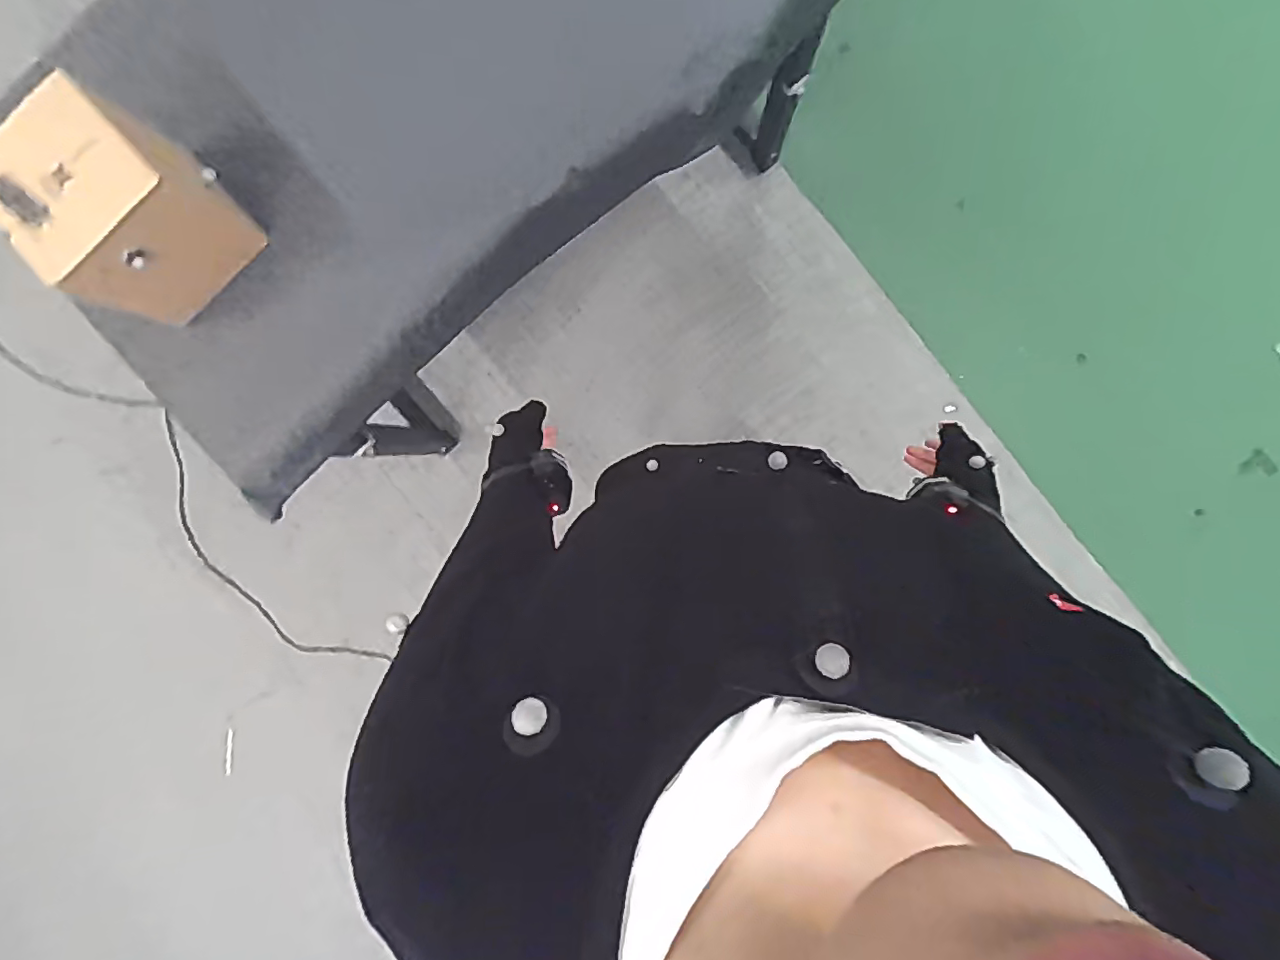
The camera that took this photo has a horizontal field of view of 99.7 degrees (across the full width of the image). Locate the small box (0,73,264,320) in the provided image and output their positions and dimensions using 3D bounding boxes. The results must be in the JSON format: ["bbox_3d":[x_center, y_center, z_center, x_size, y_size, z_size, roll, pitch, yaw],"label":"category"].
[{"bbox_3d":[-0.628,-0.329,0.670,0.179,0.176,0.168,-42,90,2],"label":"small box"}]
